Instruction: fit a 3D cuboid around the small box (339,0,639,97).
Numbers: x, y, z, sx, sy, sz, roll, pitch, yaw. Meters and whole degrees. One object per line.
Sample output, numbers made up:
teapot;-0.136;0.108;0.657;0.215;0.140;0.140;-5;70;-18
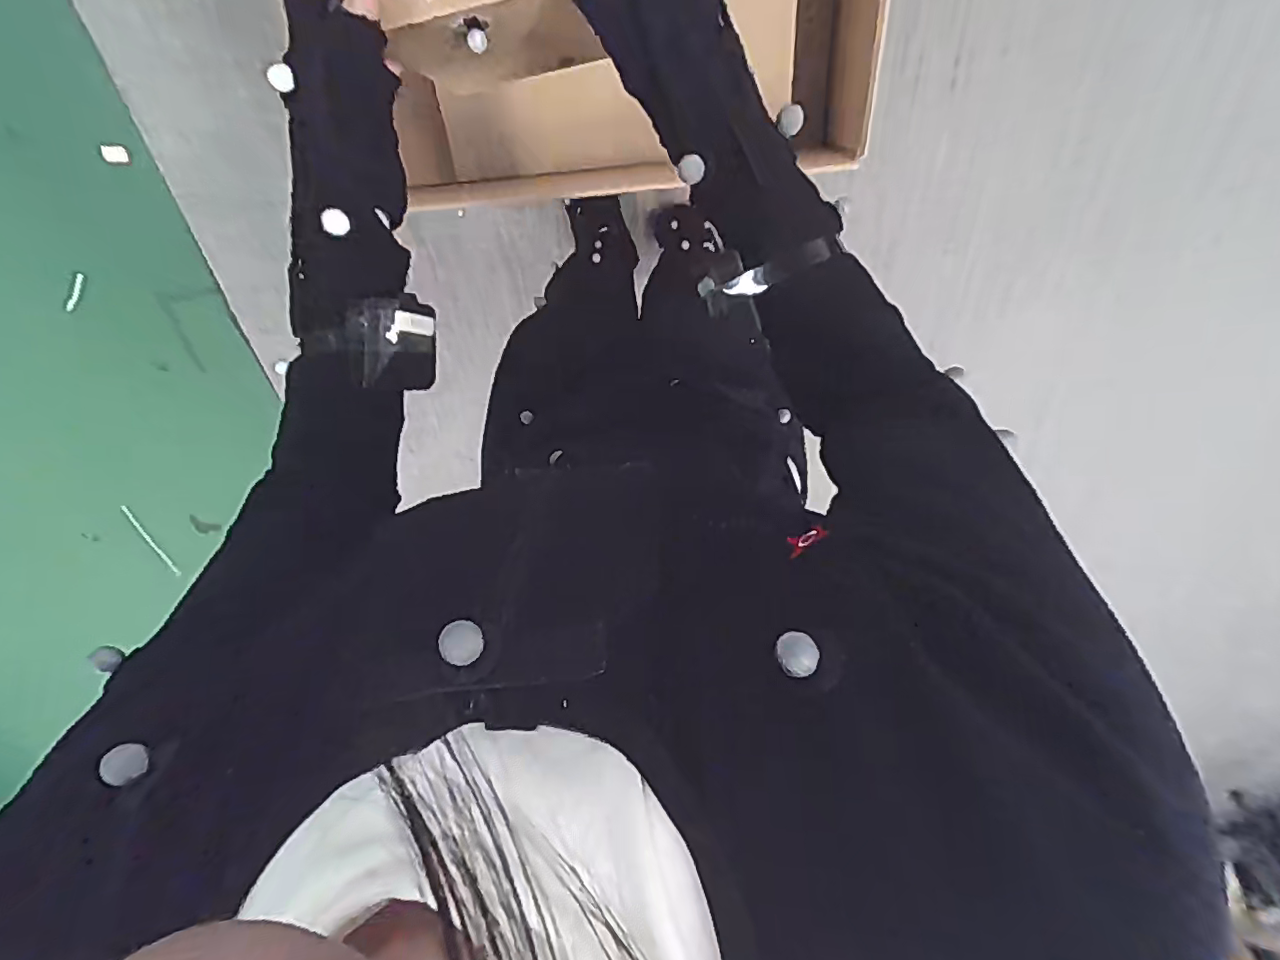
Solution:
small box;-0.099;-0.377;0.340;0.168;0.176;0.179;-9;115;8

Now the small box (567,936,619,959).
small box;-0.163;1.721;1.884;0.168;0.176;0.179;-6;126;3
